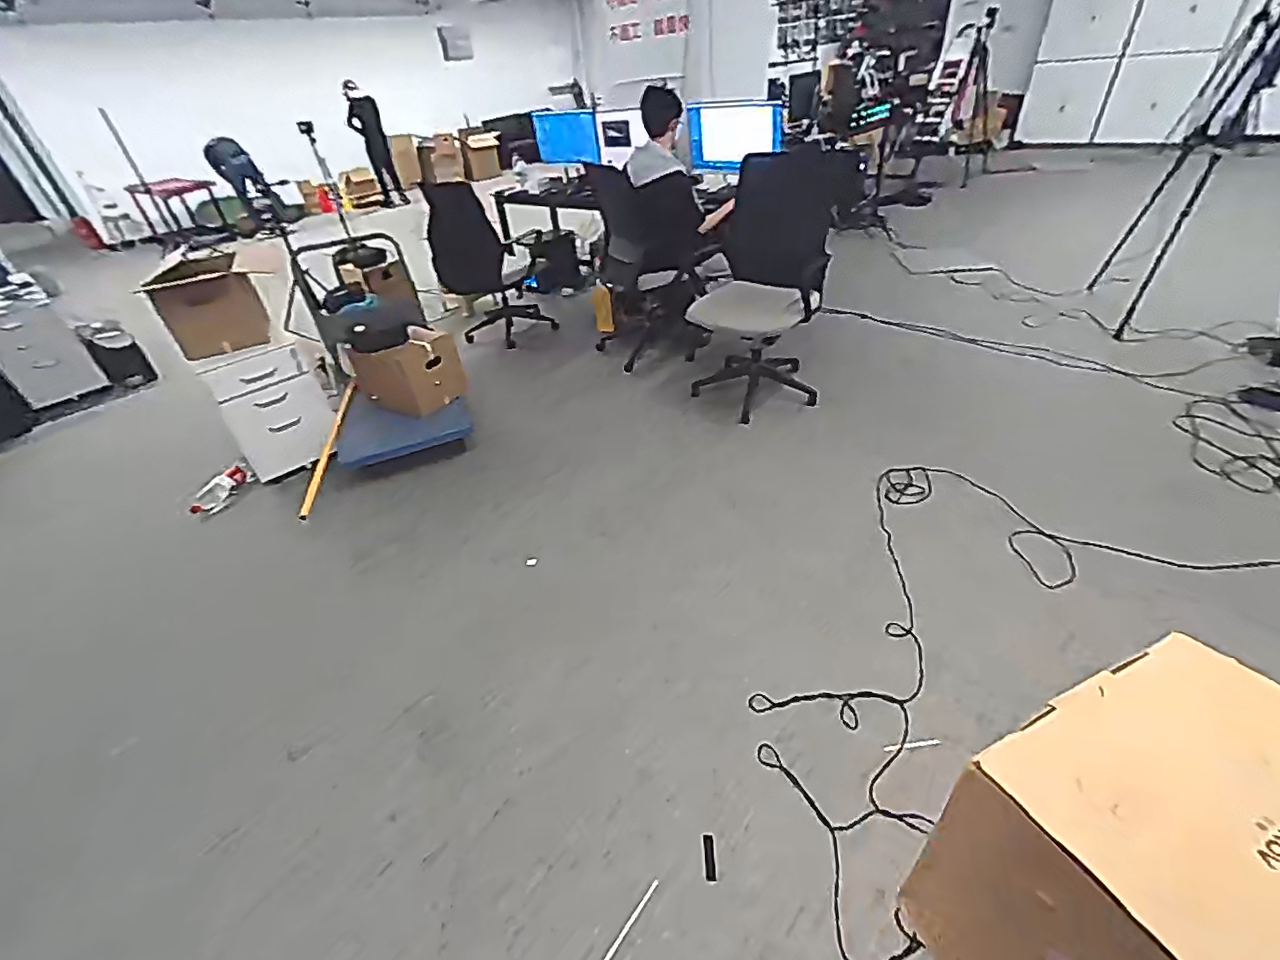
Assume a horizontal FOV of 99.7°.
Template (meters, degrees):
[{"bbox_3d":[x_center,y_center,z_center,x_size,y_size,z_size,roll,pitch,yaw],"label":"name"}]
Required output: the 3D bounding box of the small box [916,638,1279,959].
[{"bbox_3d":[0.269,0.218,0.260,0.168,0.176,0.179,-17,35,-19],"label":"small box"}]
